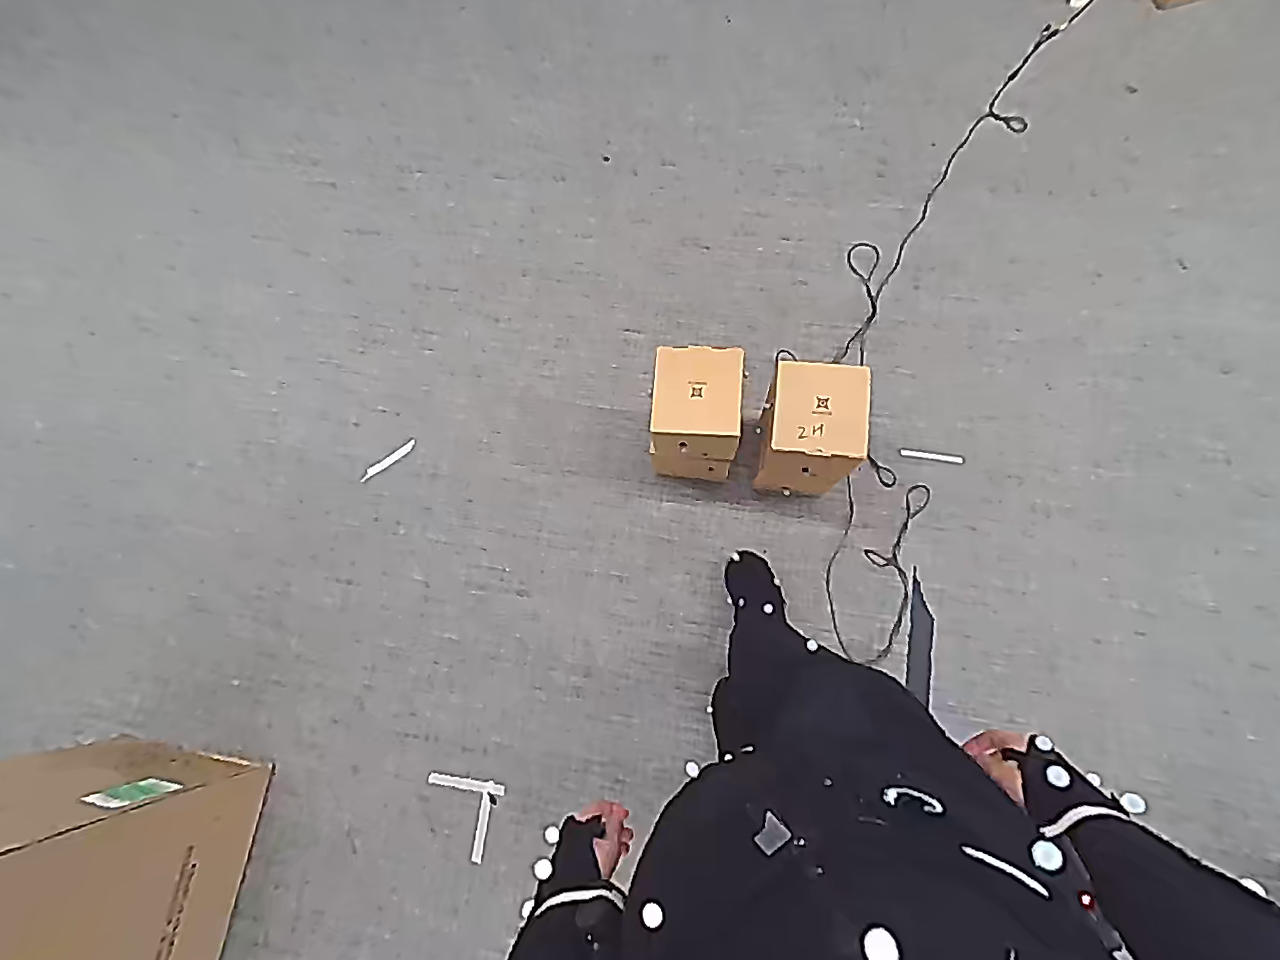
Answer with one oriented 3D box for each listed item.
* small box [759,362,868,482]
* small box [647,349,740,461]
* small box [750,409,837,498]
[{"bbox_3d":[0.328,-0.107,1.047,0.168,0.176,0.179,6,78,8],"label":"small box"},{"bbox_3d":[0.110,-0.144,1.081,0.168,0.176,0.179,3,76,6],"label":"small box"},{"bbox_3d":[0.343,-0.069,1.207,0.168,0.176,0.179,8,78,8],"label":"small box"}]
